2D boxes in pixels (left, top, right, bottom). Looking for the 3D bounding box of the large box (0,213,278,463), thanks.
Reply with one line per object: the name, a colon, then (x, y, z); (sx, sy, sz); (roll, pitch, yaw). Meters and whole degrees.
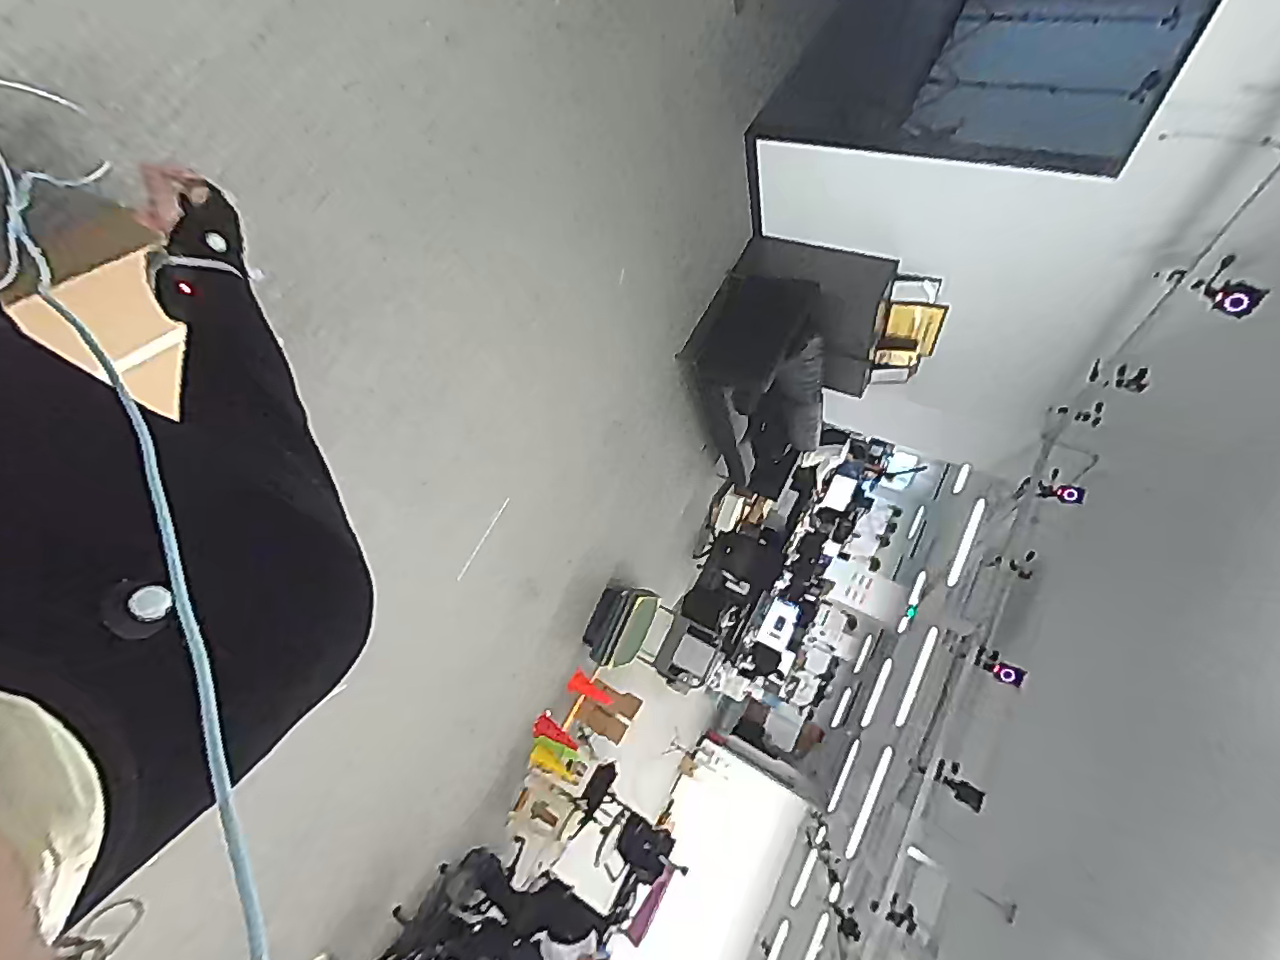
large box: (-1.103, -0.311, 1.134); (0.408, 0.320, 0.320); (-52, 152, -32)
